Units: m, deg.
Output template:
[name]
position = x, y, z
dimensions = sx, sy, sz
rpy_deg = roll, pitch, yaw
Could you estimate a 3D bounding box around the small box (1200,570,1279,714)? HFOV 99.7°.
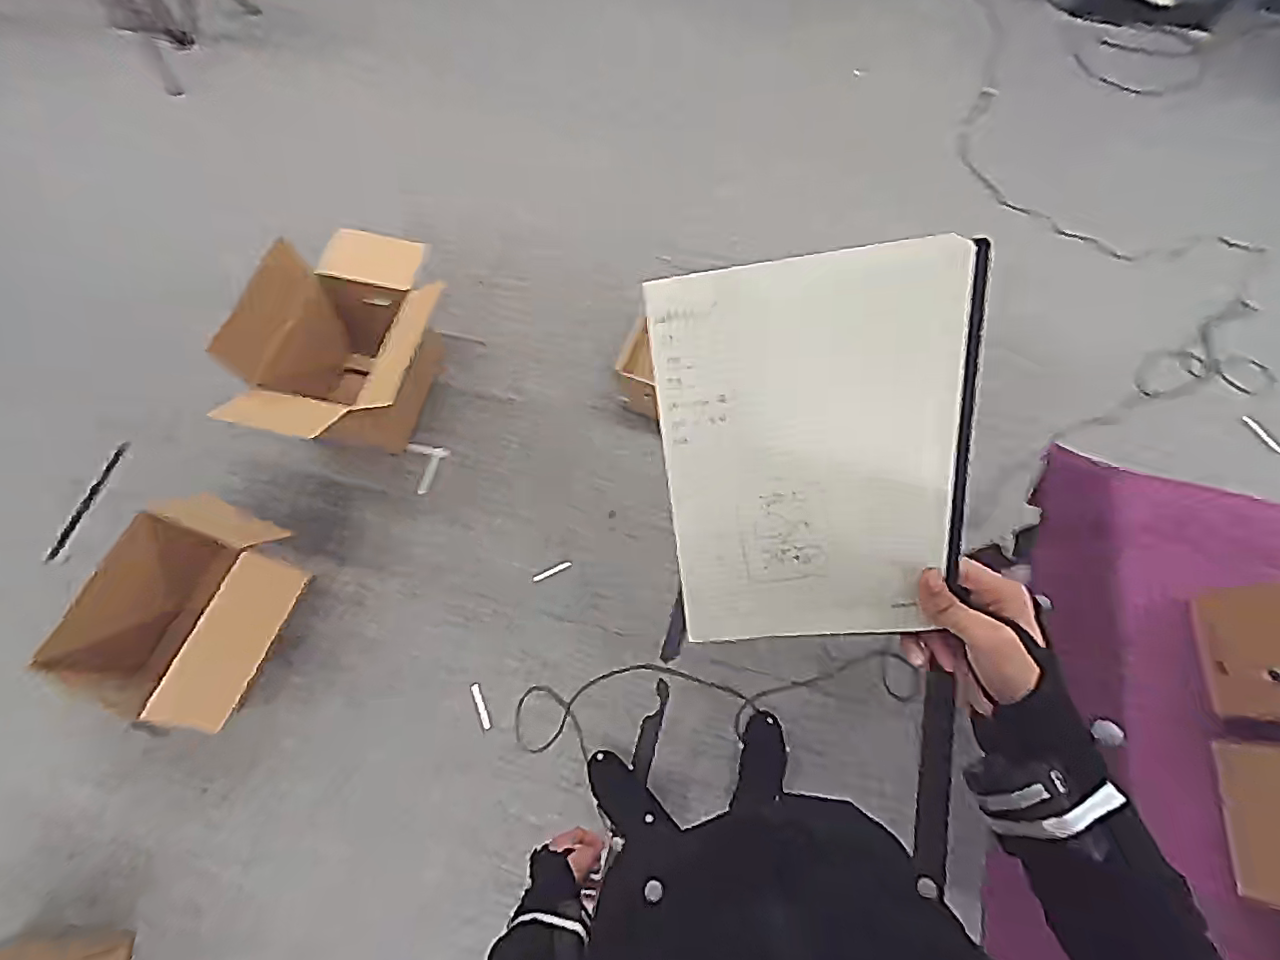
[small box]
position = 0.873, 0.212, 0.682
dimensions = 0.179, 0.176, 0.168
rpy_deg = 6, 70, 3
